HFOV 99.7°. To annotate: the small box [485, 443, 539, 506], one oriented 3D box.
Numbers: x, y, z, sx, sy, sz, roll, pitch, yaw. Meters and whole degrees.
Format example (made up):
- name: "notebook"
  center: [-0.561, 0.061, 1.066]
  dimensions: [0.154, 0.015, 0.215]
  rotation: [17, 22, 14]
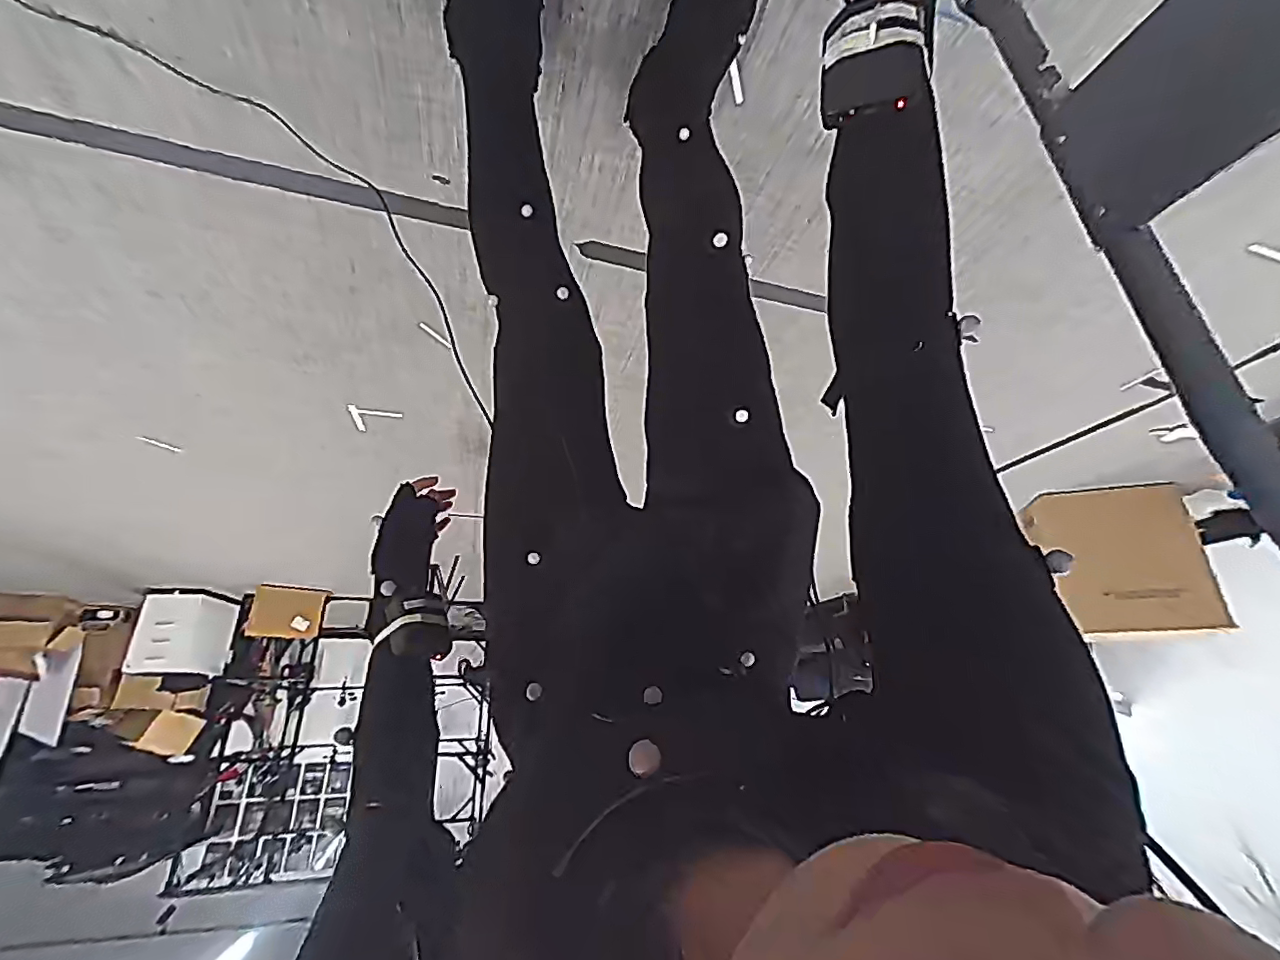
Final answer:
- name: "small box"
  center: [-0.470, -0.017, 1.990]
  dimensions: [0.168, 0.176, 0.179]
  rotation: [8, 156, -19]
